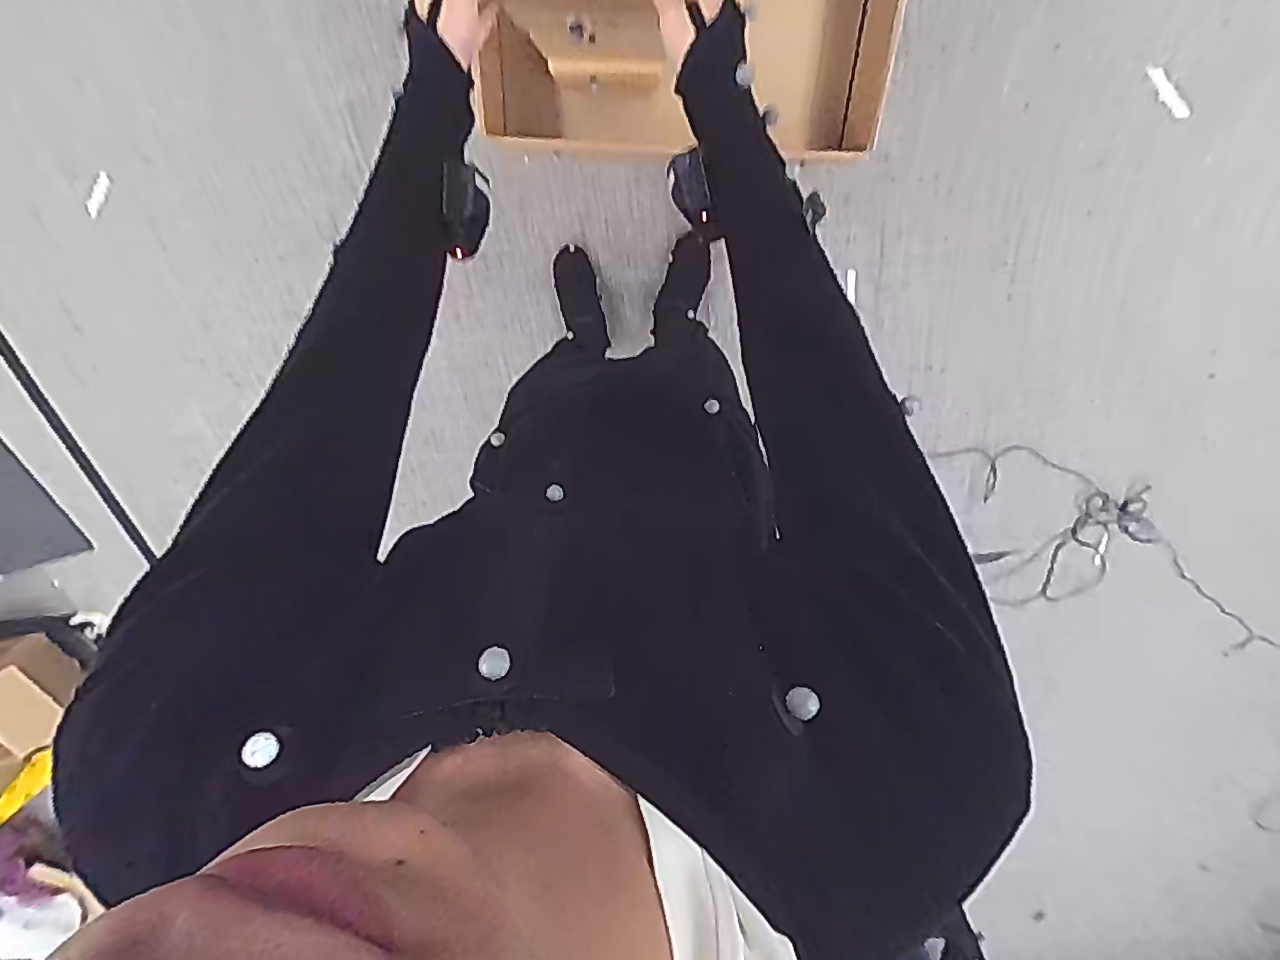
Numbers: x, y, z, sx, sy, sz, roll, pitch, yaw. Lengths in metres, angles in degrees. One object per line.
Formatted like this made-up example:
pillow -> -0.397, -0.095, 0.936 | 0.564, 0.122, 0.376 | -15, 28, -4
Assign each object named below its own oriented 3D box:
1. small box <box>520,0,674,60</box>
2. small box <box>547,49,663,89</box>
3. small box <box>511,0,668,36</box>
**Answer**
small box -> -0.045, -0.625, 0.649 | 0.179, 0.176, 0.168 | 2, 118, 0
small box -> -0.046, -0.695, 0.798 | 0.168, 0.176, 0.179 | 0, 117, 0
small box -> -0.054, -0.548, 0.504 | 0.168, 0.176, 0.179 | 1, 117, 2
